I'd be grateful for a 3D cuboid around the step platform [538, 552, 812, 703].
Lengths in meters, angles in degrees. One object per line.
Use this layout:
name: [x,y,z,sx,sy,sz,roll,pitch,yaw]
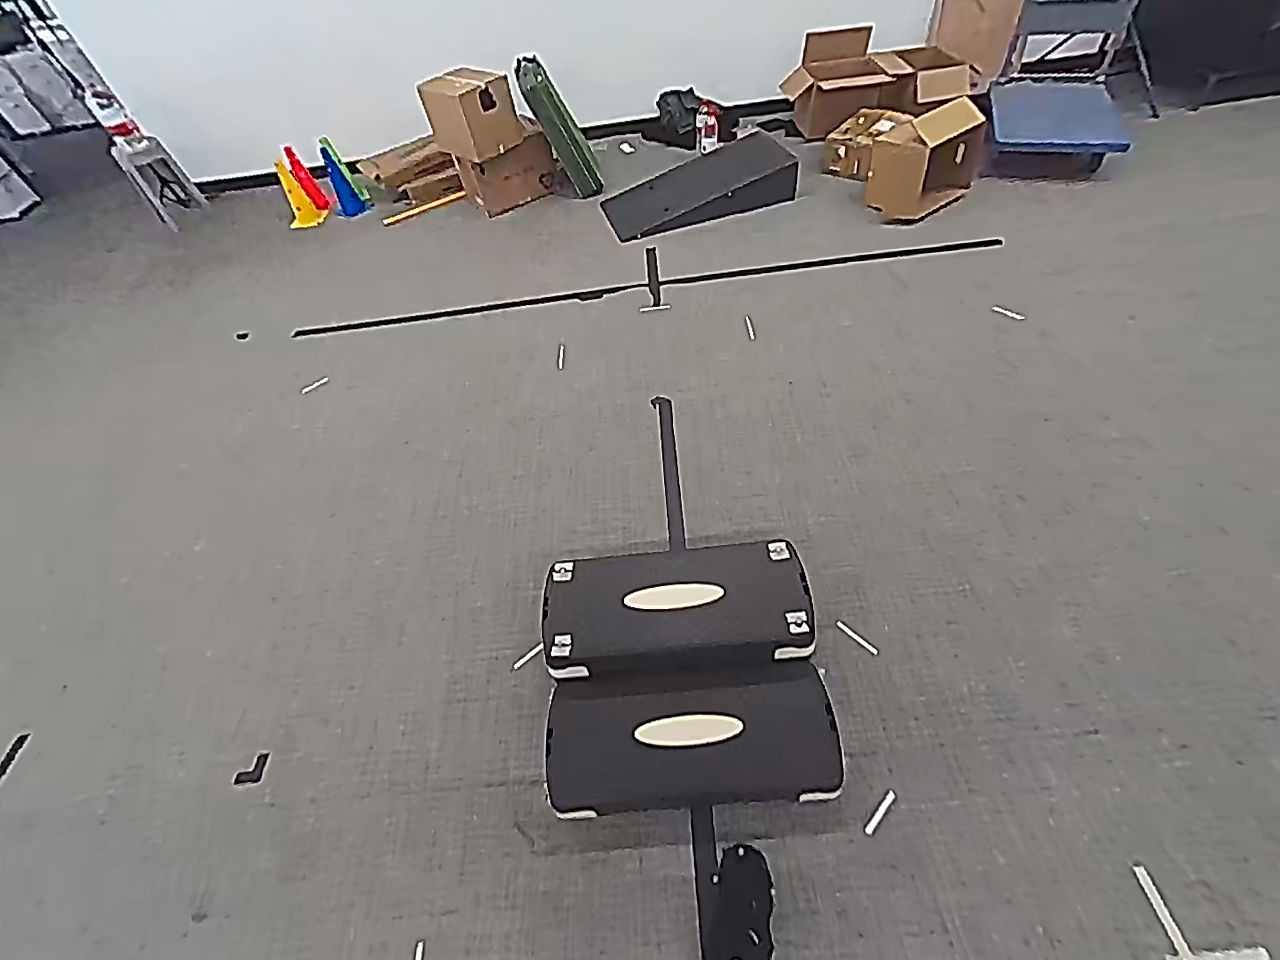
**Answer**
step platform: [0.083,0.376,1.394,0.684,0.204,0.286,-6,51,2]
